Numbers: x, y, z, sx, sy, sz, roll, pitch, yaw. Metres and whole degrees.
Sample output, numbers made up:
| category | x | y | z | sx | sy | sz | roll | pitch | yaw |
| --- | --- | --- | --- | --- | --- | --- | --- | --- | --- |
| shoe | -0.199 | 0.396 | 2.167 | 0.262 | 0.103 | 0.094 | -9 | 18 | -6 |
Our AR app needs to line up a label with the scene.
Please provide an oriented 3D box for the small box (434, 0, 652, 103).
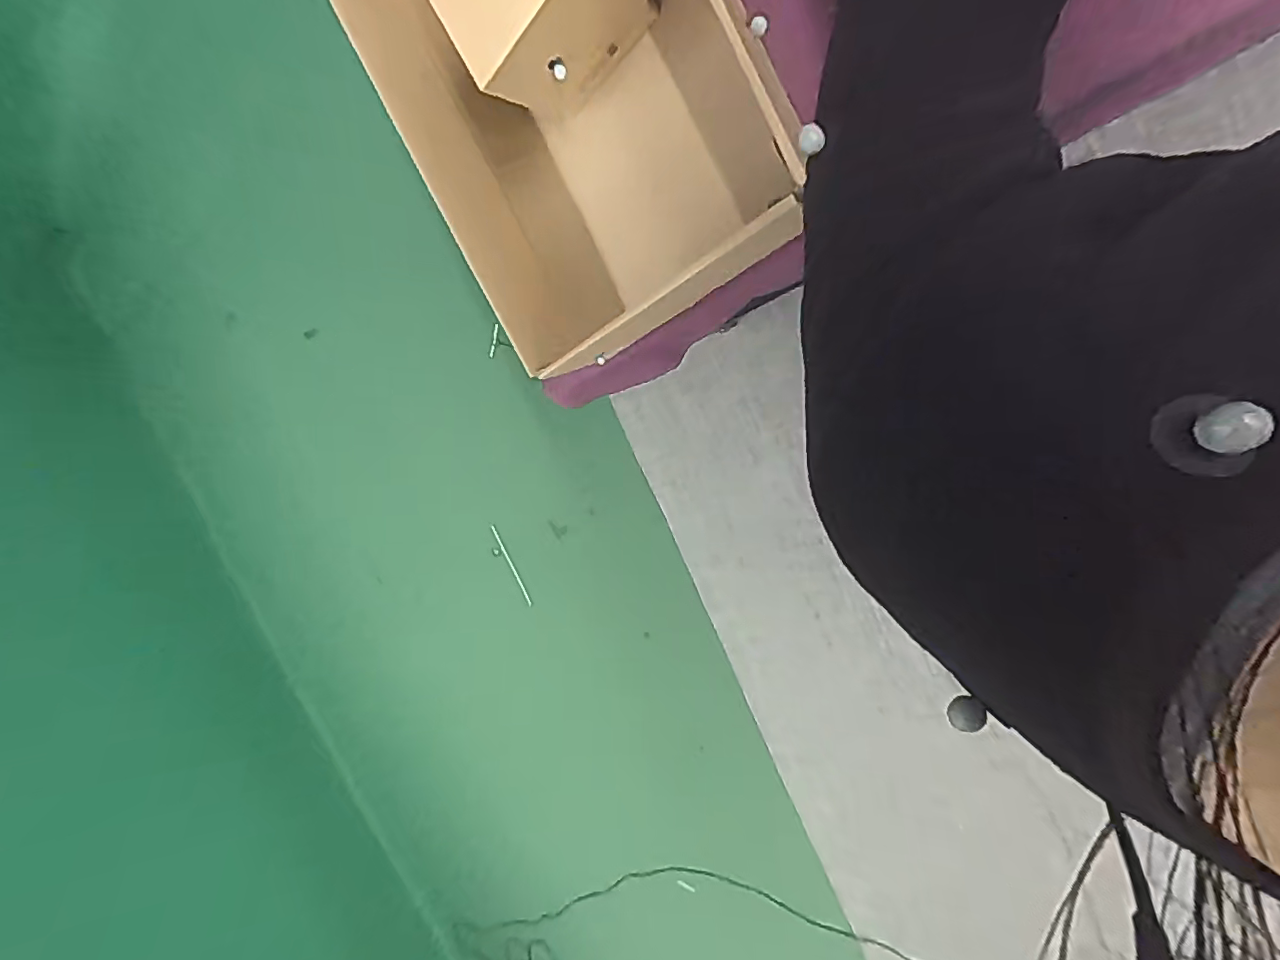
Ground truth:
| category | x | y | z | sx | sy | sz | roll | pitch | yaw |
| --- | --- | --- | --- | --- | --- | --- | --- | --- | --- |
| small box | -0.115 | -0.560 | 0.601 | 0.168 | 0.176 | 0.179 | -27 | 95 | 36 |
